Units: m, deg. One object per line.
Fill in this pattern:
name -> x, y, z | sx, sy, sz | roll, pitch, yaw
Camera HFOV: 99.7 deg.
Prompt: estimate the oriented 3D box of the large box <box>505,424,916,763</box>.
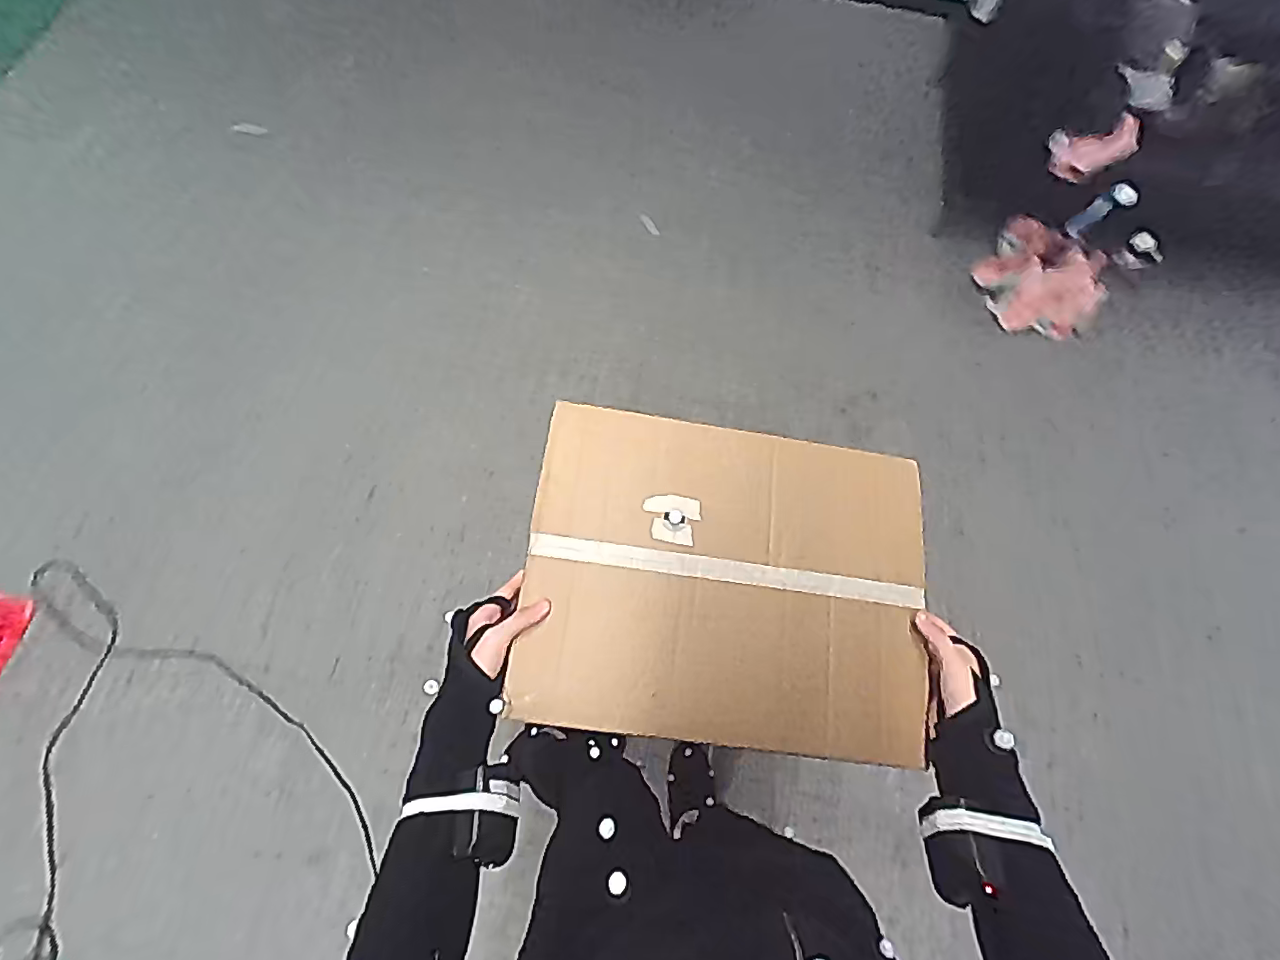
large box -> 0.072, 0.148, 0.693 | 0.408, 0.320, 0.320 | 7, 71, -4
